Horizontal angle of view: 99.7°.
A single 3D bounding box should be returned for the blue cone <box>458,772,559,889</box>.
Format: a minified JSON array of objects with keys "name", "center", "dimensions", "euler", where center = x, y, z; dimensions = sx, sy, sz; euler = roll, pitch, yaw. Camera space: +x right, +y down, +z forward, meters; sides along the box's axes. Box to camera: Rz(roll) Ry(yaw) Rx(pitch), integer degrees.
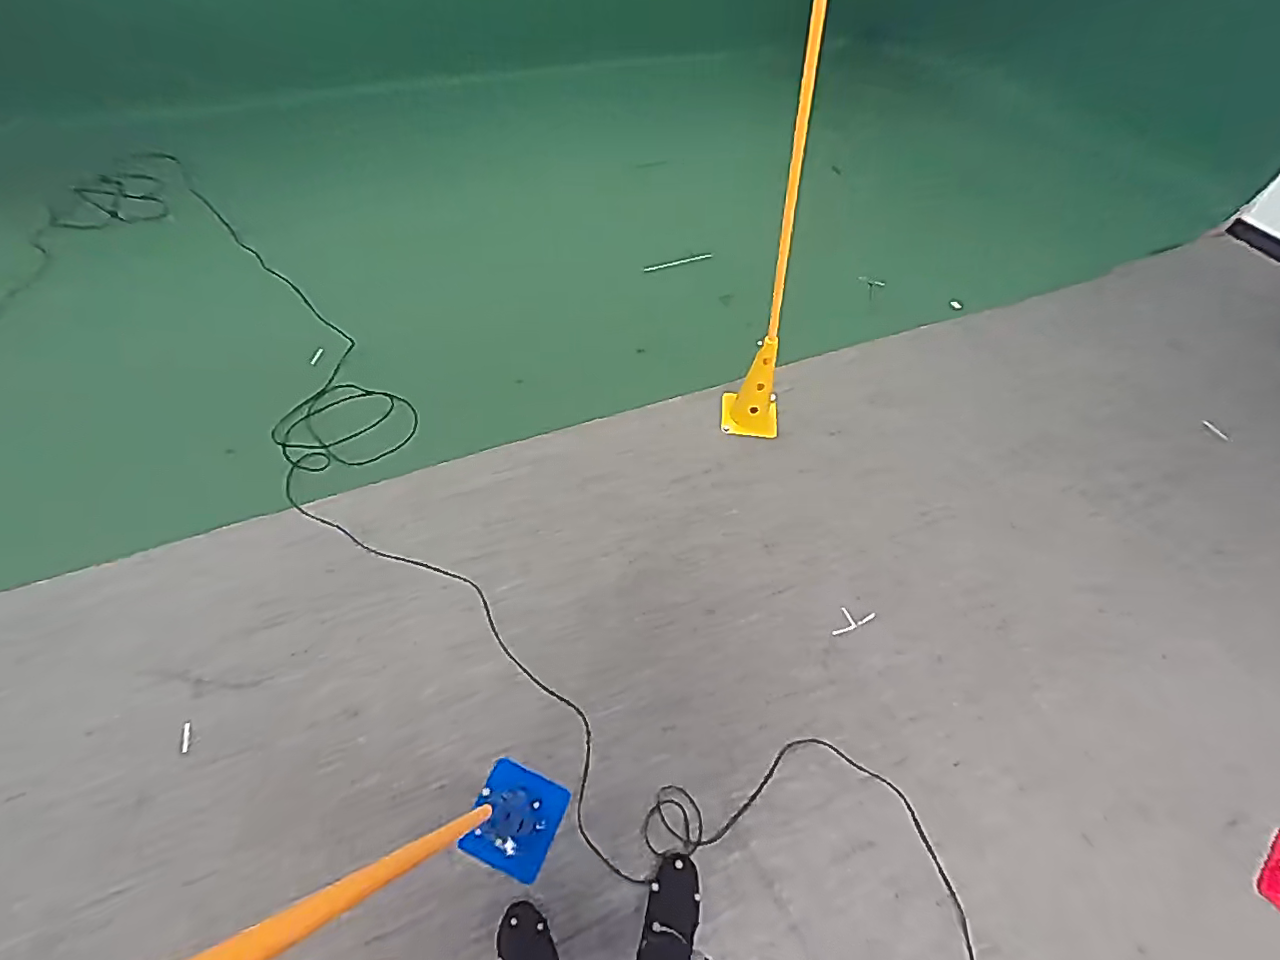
[{"name":"blue cone","center":[-0.284,0.693,1.077],"dimensions":[0.192,0.380,0.193],"euler":[20,58,10]}]
